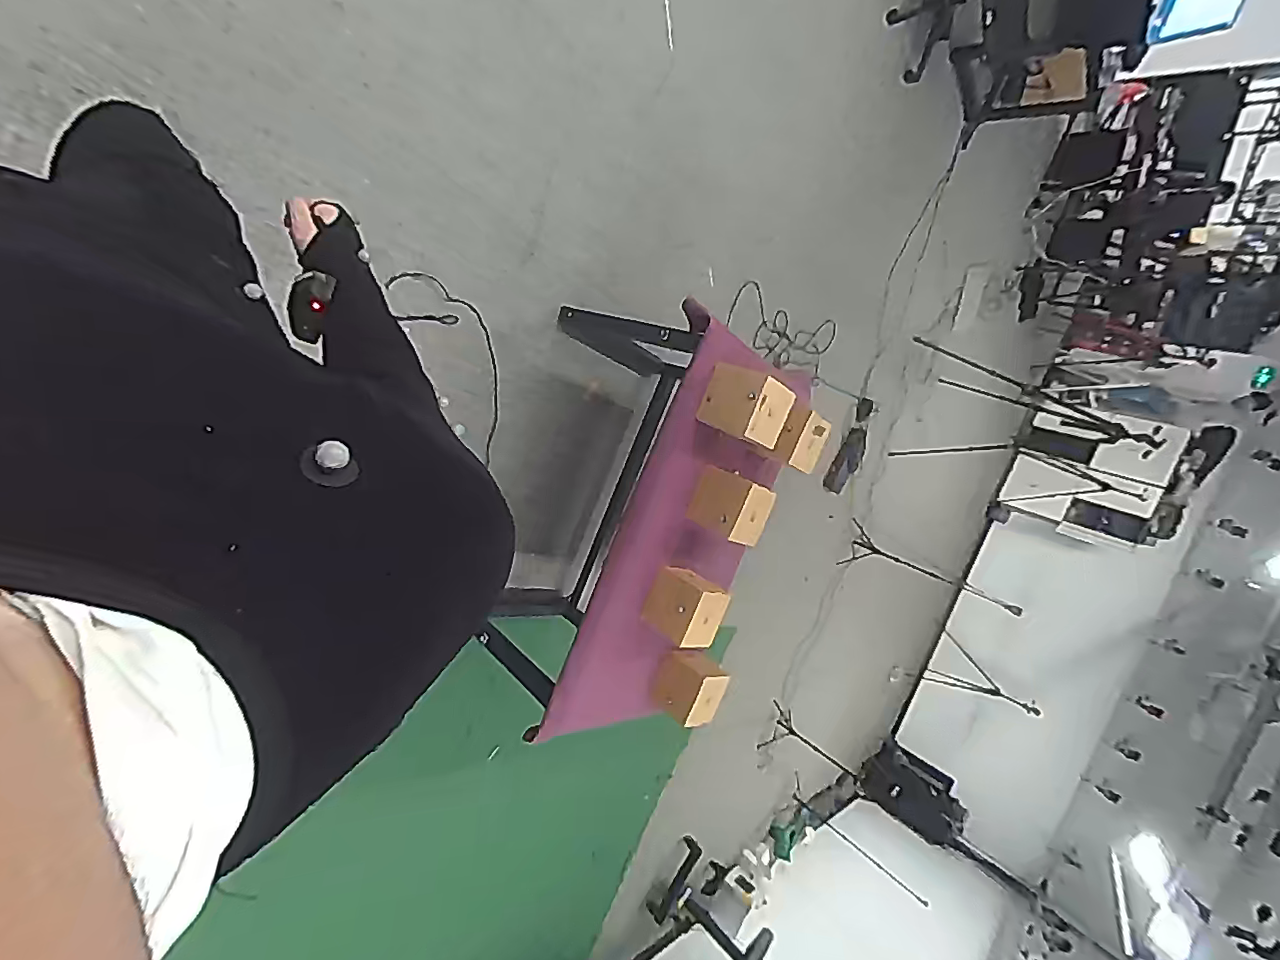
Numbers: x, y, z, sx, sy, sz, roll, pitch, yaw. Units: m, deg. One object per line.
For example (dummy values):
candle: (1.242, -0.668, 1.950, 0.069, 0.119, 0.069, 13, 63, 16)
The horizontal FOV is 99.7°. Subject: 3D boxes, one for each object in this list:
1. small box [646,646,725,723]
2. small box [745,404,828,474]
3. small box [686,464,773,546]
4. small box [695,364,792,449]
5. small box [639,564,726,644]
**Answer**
small box: (0.146, 0.678, 1.806, 0.168, 0.176, 0.179, 22, 93, -49)
small box: (0.458, -0.143, 1.707, 0.168, 0.176, 0.179, 19, 96, -50)
small box: (0.260, 0.073, 1.608, 0.168, 0.176, 0.179, 20, 95, -51)
small box: (0.282, -0.204, 1.484, 0.179, 0.176, 0.168, 16, 98, -51)
small box: (0.123, 0.373, 1.625, 0.168, 0.176, 0.179, 20, 94, -50)
